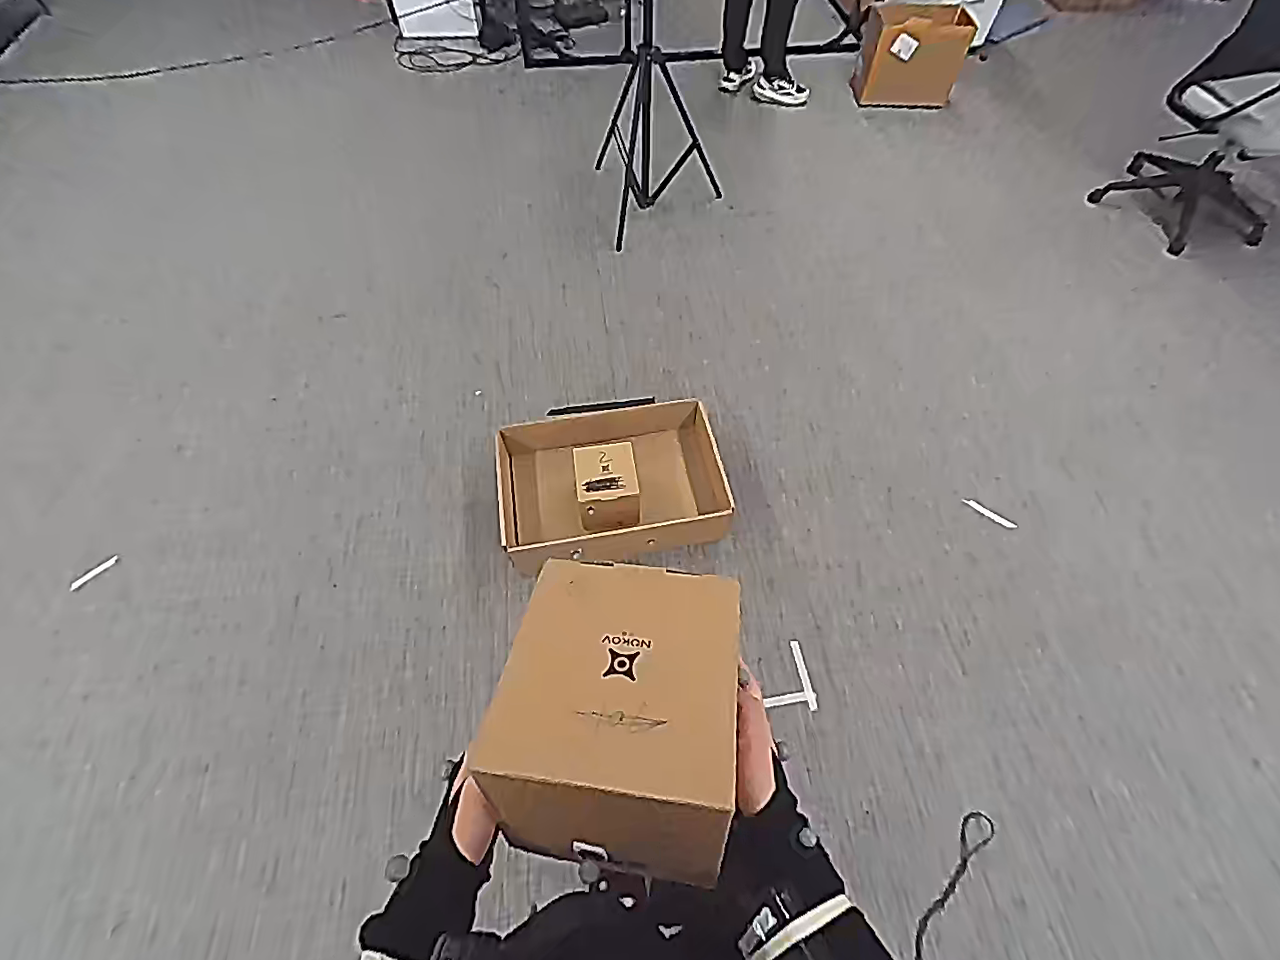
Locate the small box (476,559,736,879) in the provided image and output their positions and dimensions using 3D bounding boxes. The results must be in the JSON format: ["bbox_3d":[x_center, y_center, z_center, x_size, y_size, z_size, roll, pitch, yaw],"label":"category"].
[{"bbox_3d":[-0.012,0.191,0.444,0.168,0.176,0.179,4,41,7],"label":"small box"}]
